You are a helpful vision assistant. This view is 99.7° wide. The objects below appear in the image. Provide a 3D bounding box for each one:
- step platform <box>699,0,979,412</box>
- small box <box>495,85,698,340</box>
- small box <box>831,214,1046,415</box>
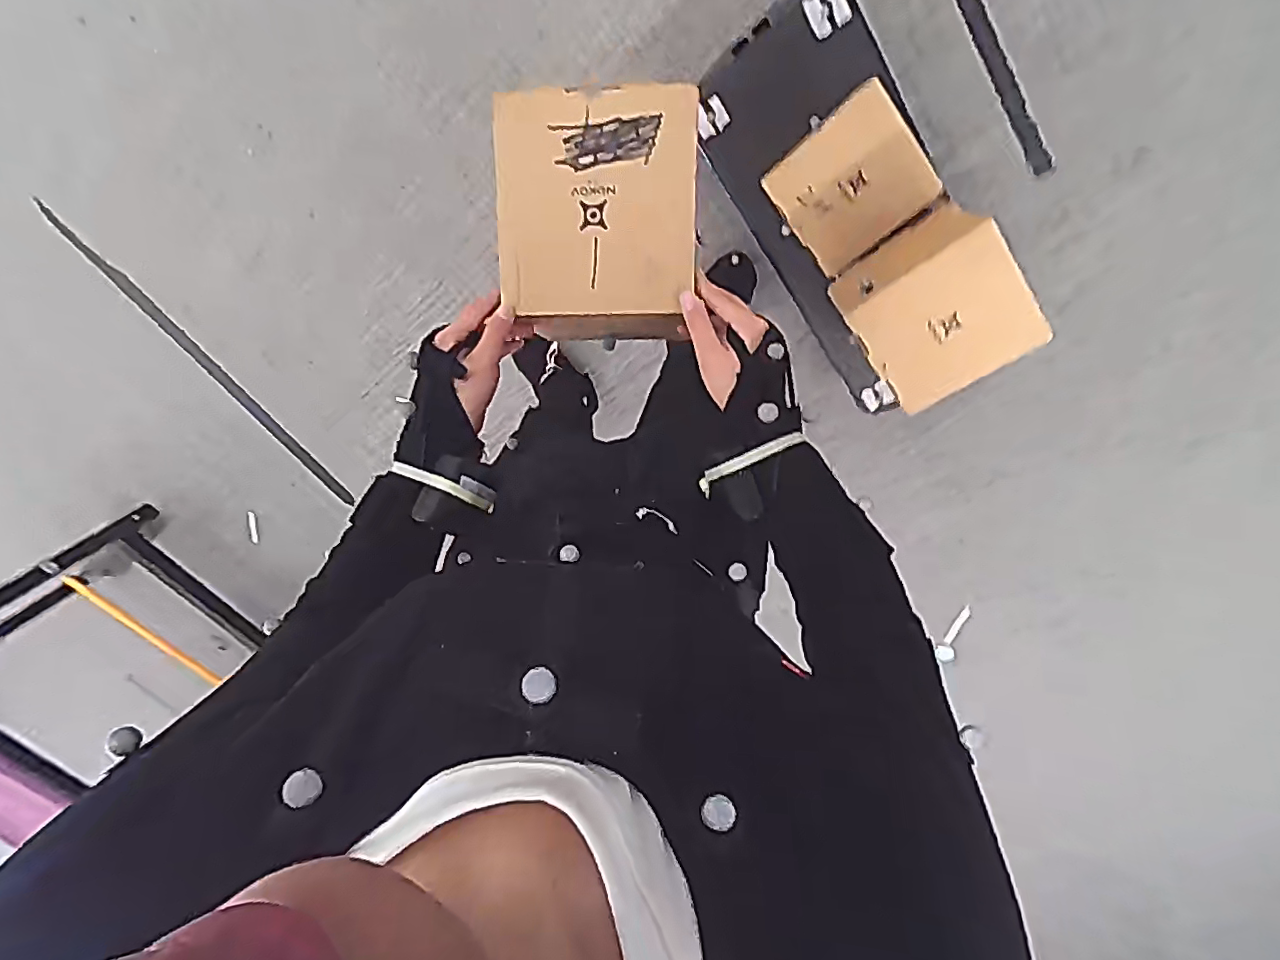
[{"bbox_3d":[0.397,-0.458,0.970,0.286,0.204,0.684,-31,109,25],"label":"step platform"},{"bbox_3d":[-0.031,-0.236,0.519,0.168,0.176,0.179,0,97,5],"label":"small box"},{"bbox_3d":[0.377,-0.224,0.715,0.179,0.176,0.168,-32,109,27],"label":"small box"}]
